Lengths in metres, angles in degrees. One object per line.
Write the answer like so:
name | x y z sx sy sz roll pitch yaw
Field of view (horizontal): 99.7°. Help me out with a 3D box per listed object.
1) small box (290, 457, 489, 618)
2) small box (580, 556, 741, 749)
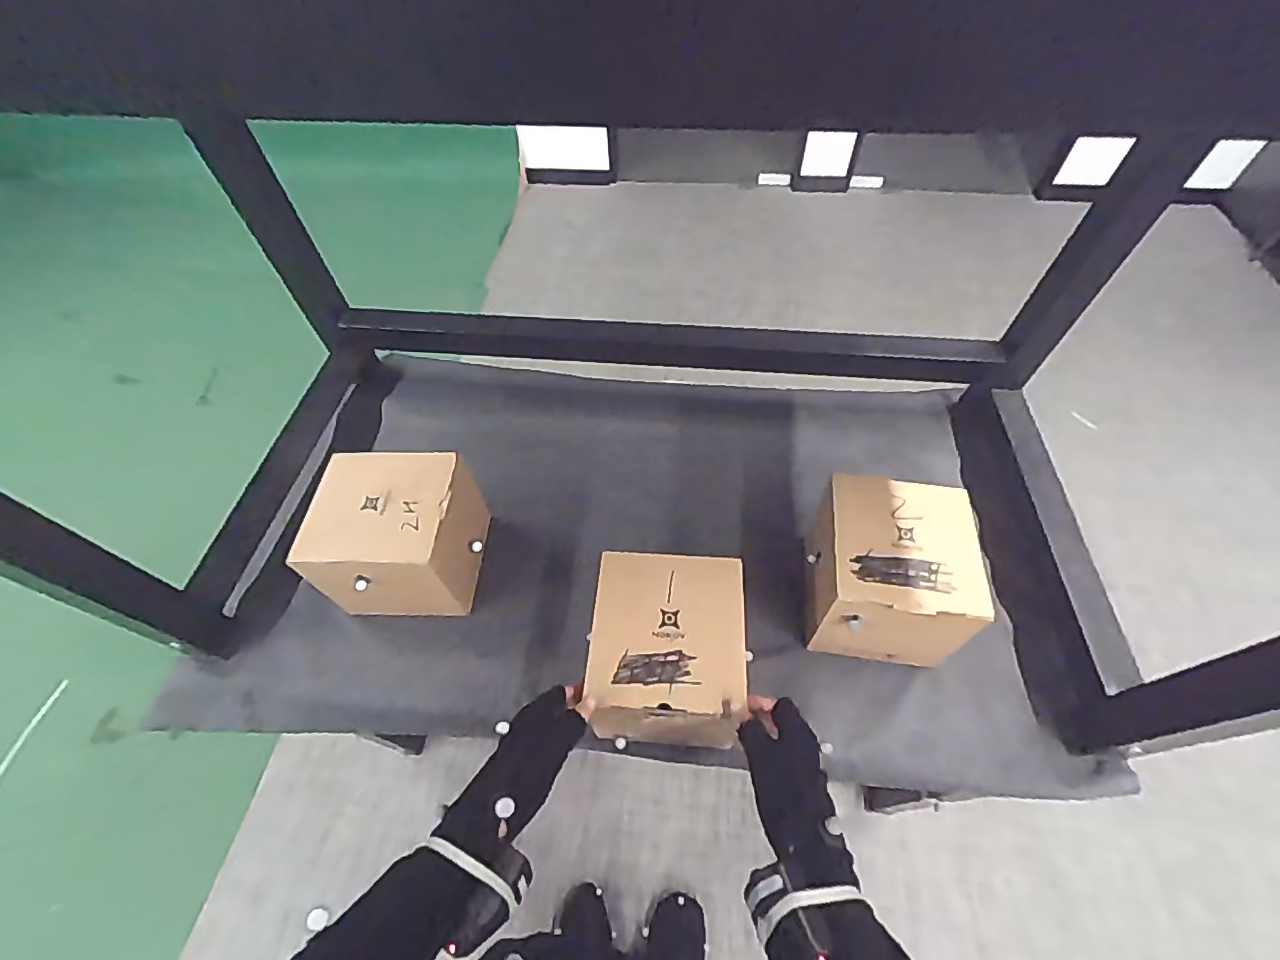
small box | -0.329 0.084 0.753 0.179 0.176 0.168 1 55 2
small box | 0.031 0.211 0.649 0.168 0.176 0.179 3 54 4
